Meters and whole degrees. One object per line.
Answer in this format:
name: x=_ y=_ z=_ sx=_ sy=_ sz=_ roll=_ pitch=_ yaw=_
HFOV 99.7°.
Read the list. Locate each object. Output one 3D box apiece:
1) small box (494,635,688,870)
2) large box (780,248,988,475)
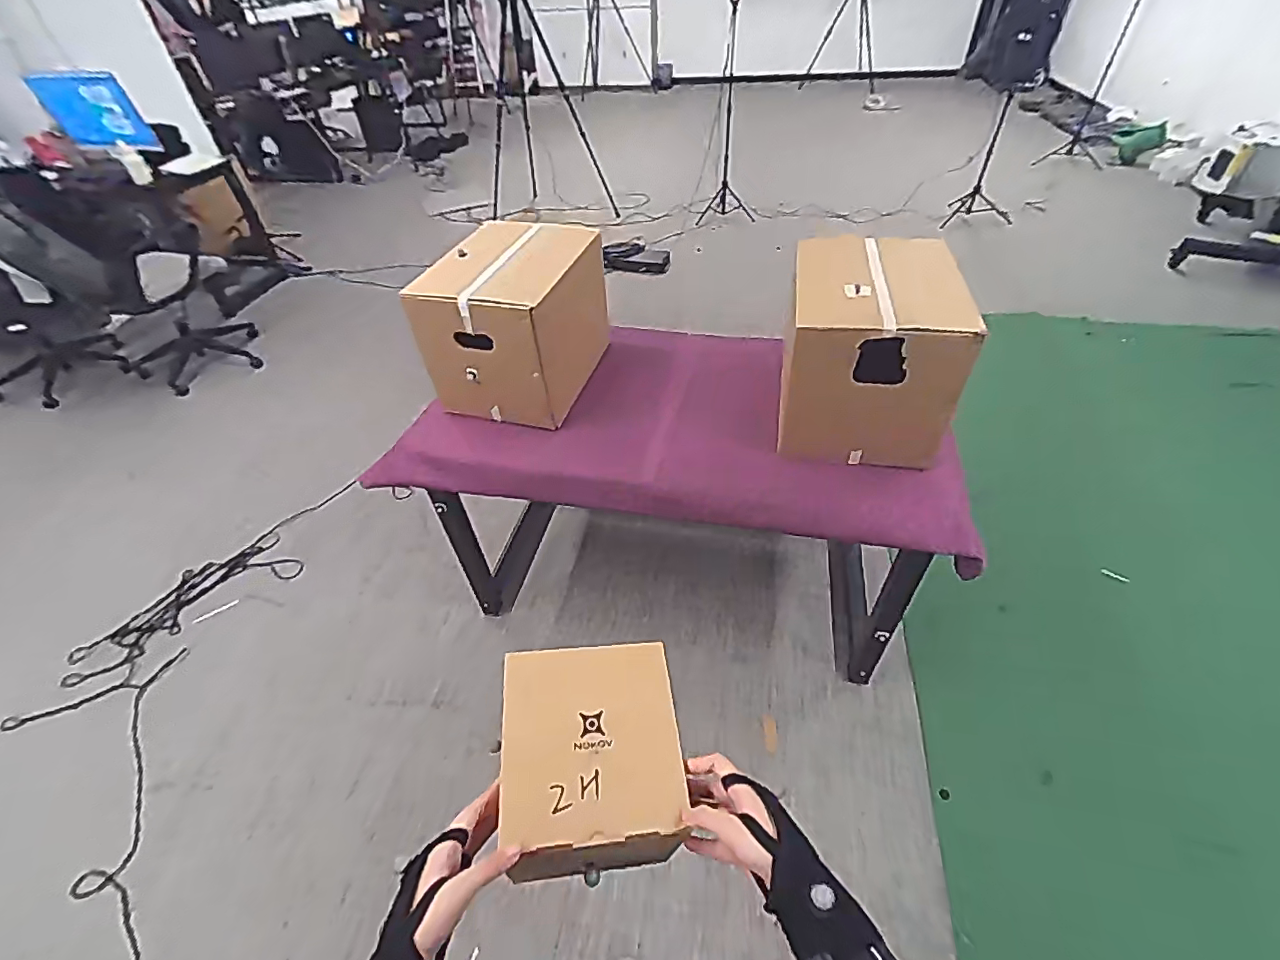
small box: x=-0.057 y=0.282 z=0.565 sx=0.168 sy=0.176 sz=0.179 roll=0 pitch=48 yaw=-9
large box: x=0.475 y=-0.265 z=1.162 sx=0.320 sy=0.320 sz=0.408 roll=5 pitch=45 yaw=12
